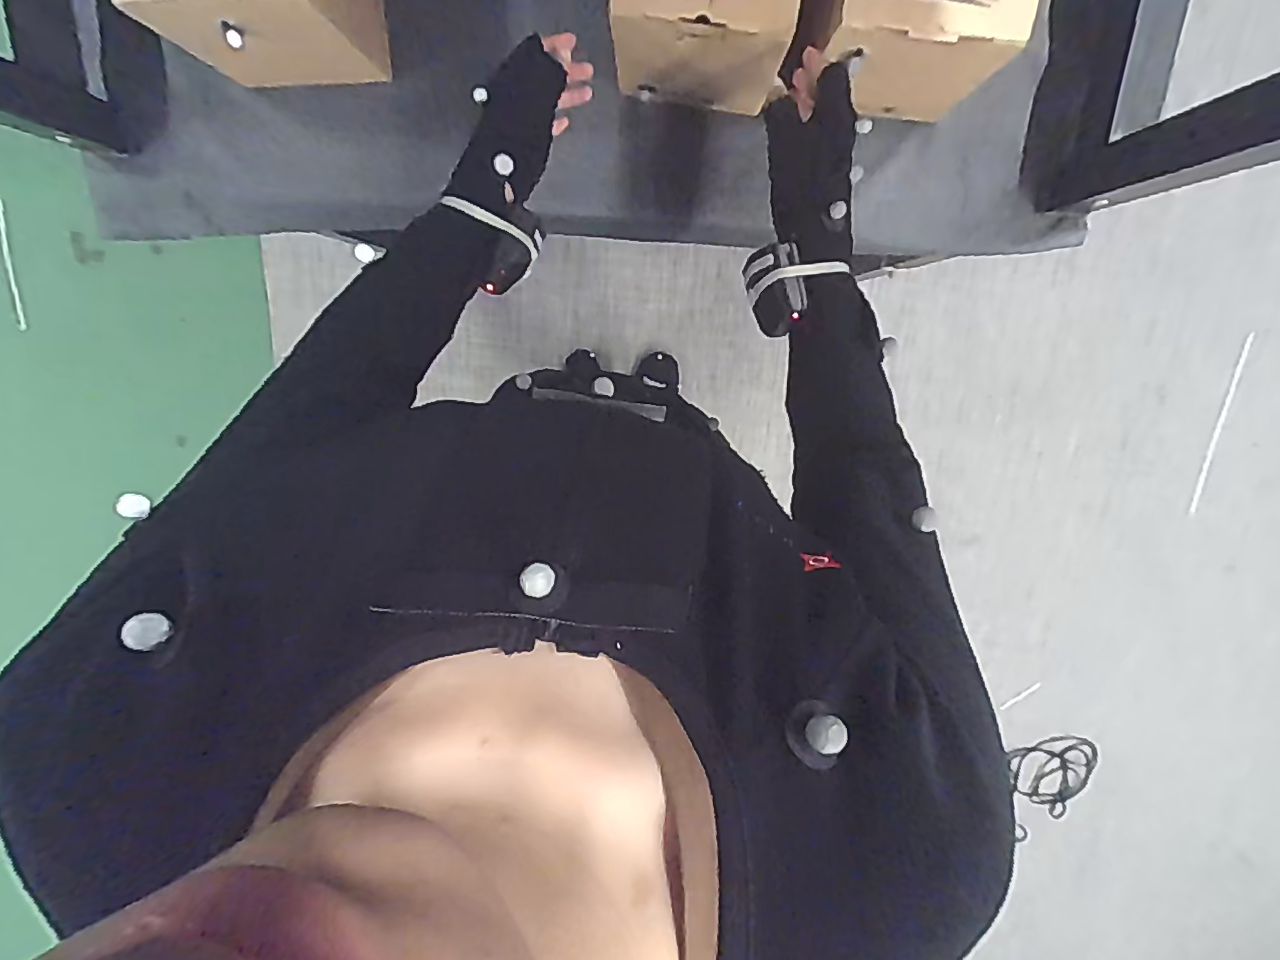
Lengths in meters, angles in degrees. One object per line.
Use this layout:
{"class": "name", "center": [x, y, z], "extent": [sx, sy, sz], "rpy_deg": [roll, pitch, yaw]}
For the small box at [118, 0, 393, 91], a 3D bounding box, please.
{"class": "small box", "center": [-0.378, -0.516, 0.539], "extent": [0.179, 0.176, 0.168], "rpy_deg": [-1, 105, 1]}
